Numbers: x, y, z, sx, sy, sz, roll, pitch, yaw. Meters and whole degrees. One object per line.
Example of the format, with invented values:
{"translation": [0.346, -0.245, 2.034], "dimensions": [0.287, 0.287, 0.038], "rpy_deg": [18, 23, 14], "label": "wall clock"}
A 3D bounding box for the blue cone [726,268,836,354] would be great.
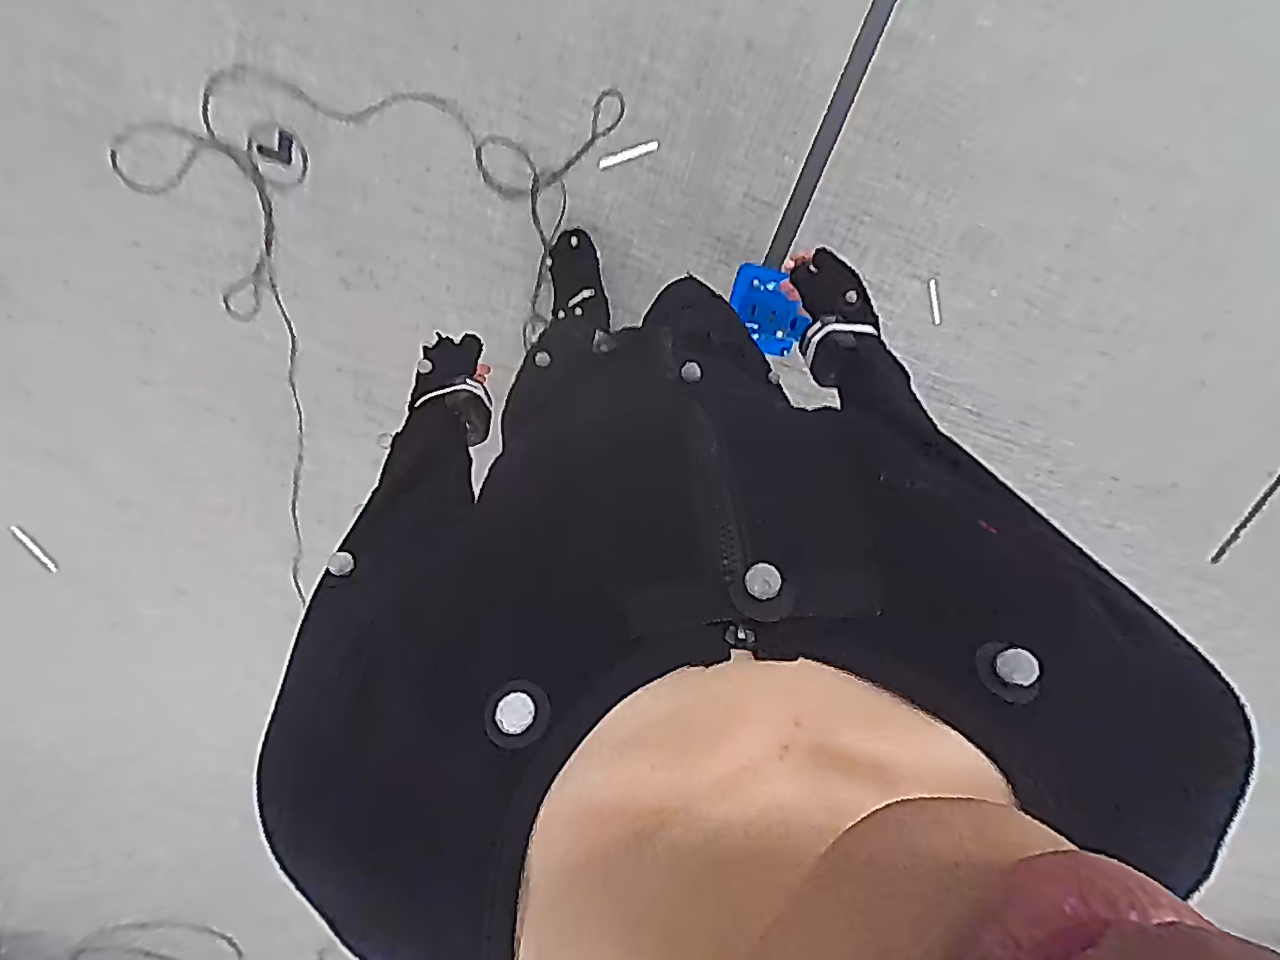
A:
{"translation": [0.339, -0.363, 1.226], "dimensions": [0.192, 0.380, 0.193], "rpy_deg": [13, 111, -12], "label": "blue cone"}
